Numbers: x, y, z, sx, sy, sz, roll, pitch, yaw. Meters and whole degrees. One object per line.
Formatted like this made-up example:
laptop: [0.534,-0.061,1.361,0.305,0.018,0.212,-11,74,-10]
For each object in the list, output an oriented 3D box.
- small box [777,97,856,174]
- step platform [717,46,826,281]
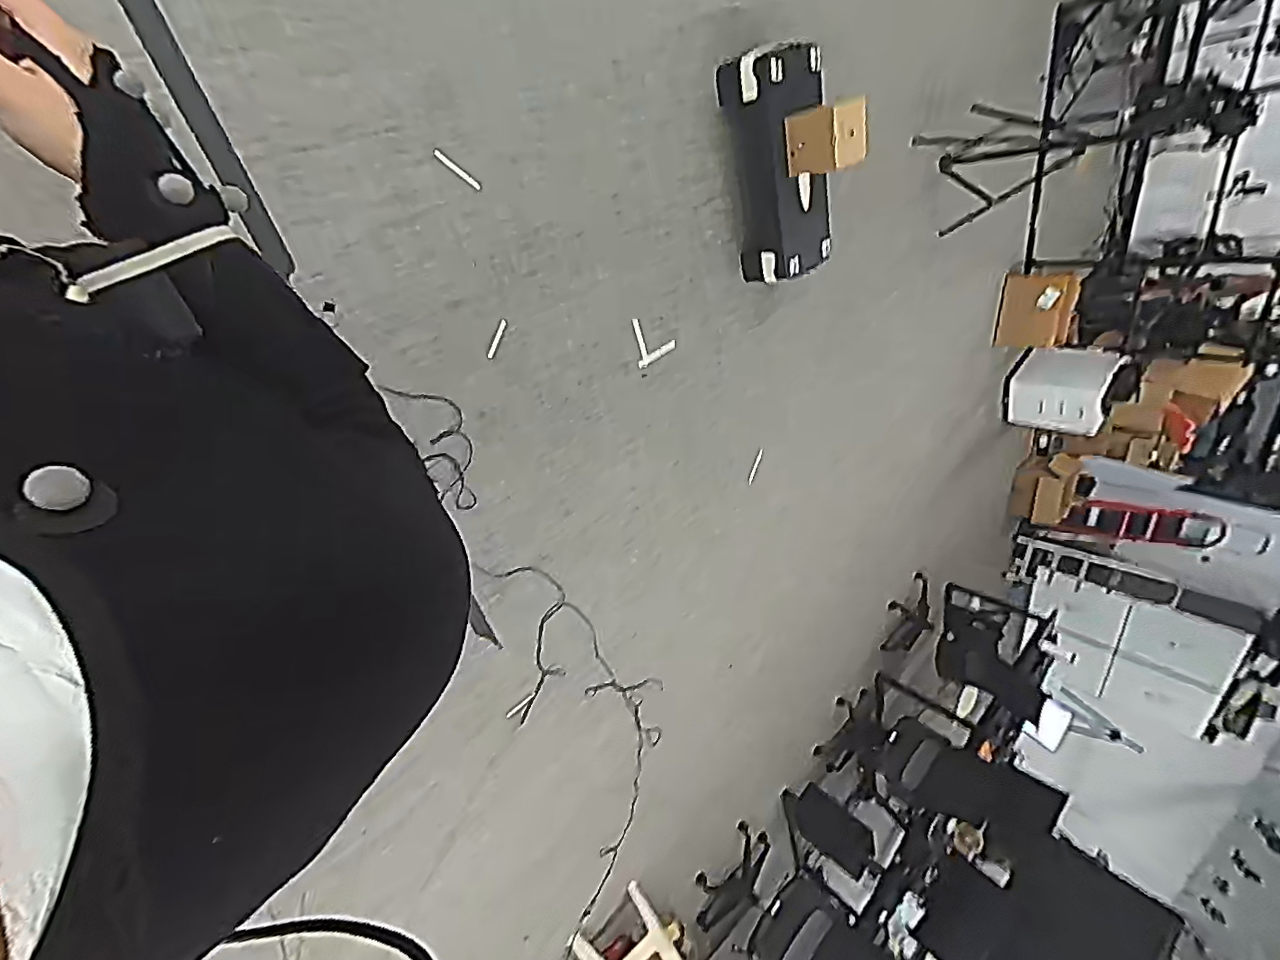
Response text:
small box: [0.551,-1.069,1.683,0.179,0.176,0.168,-34,125,-29]
step platform: [0.470,-1.056,1.858,0.286,0.204,0.684,-36,126,-28]
